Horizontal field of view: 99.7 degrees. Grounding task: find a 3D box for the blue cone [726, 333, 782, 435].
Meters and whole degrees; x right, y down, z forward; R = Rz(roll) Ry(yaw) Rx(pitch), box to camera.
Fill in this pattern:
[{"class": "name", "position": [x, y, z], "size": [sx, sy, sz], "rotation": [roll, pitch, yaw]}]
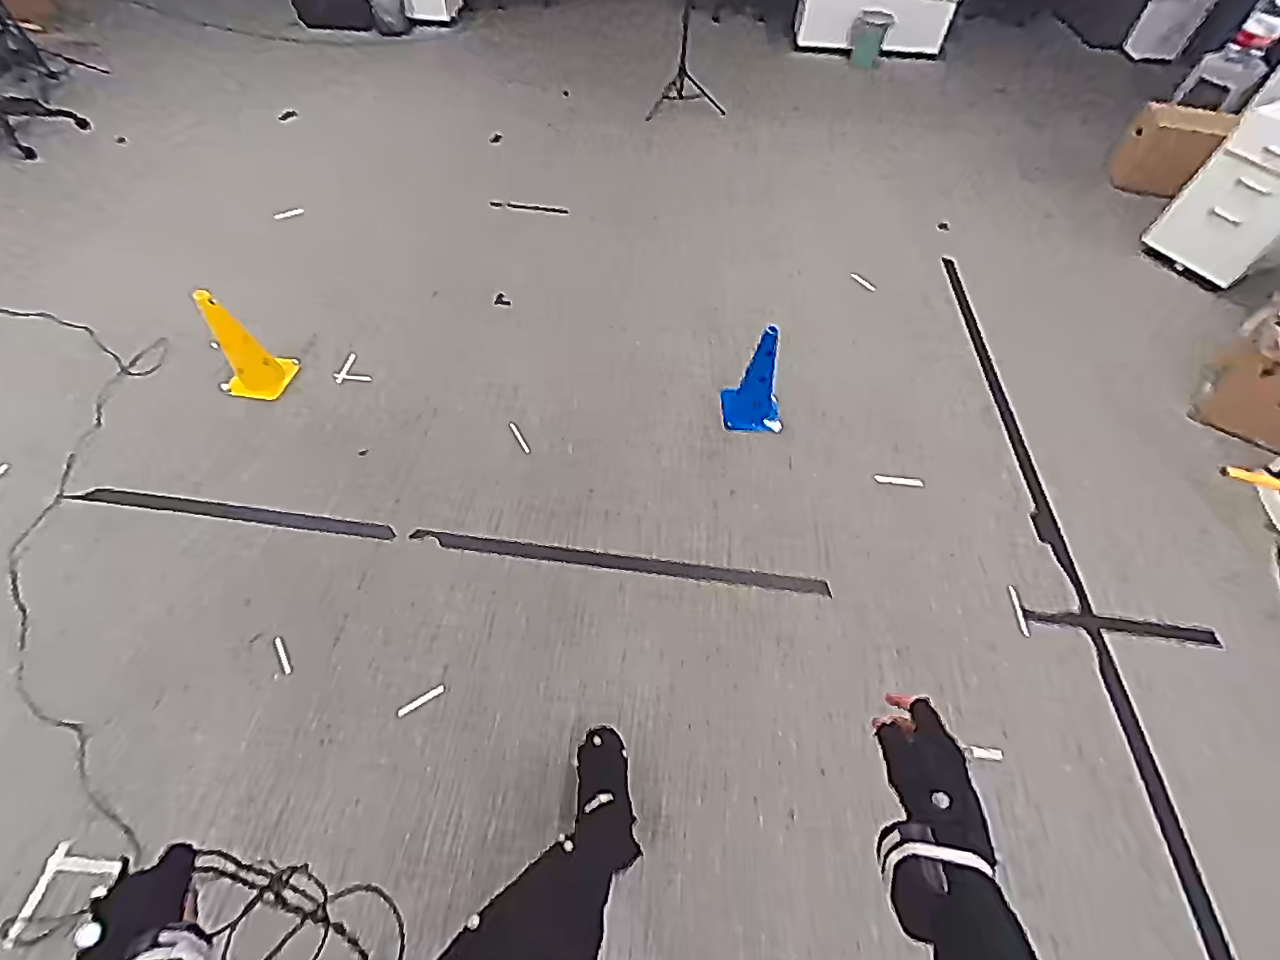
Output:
[{"class": "blue cone", "position": [0.406, -0.331, 1.783], "size": [0.193, 0.380, 0.192], "rotation": [3, 55, 0]}]
